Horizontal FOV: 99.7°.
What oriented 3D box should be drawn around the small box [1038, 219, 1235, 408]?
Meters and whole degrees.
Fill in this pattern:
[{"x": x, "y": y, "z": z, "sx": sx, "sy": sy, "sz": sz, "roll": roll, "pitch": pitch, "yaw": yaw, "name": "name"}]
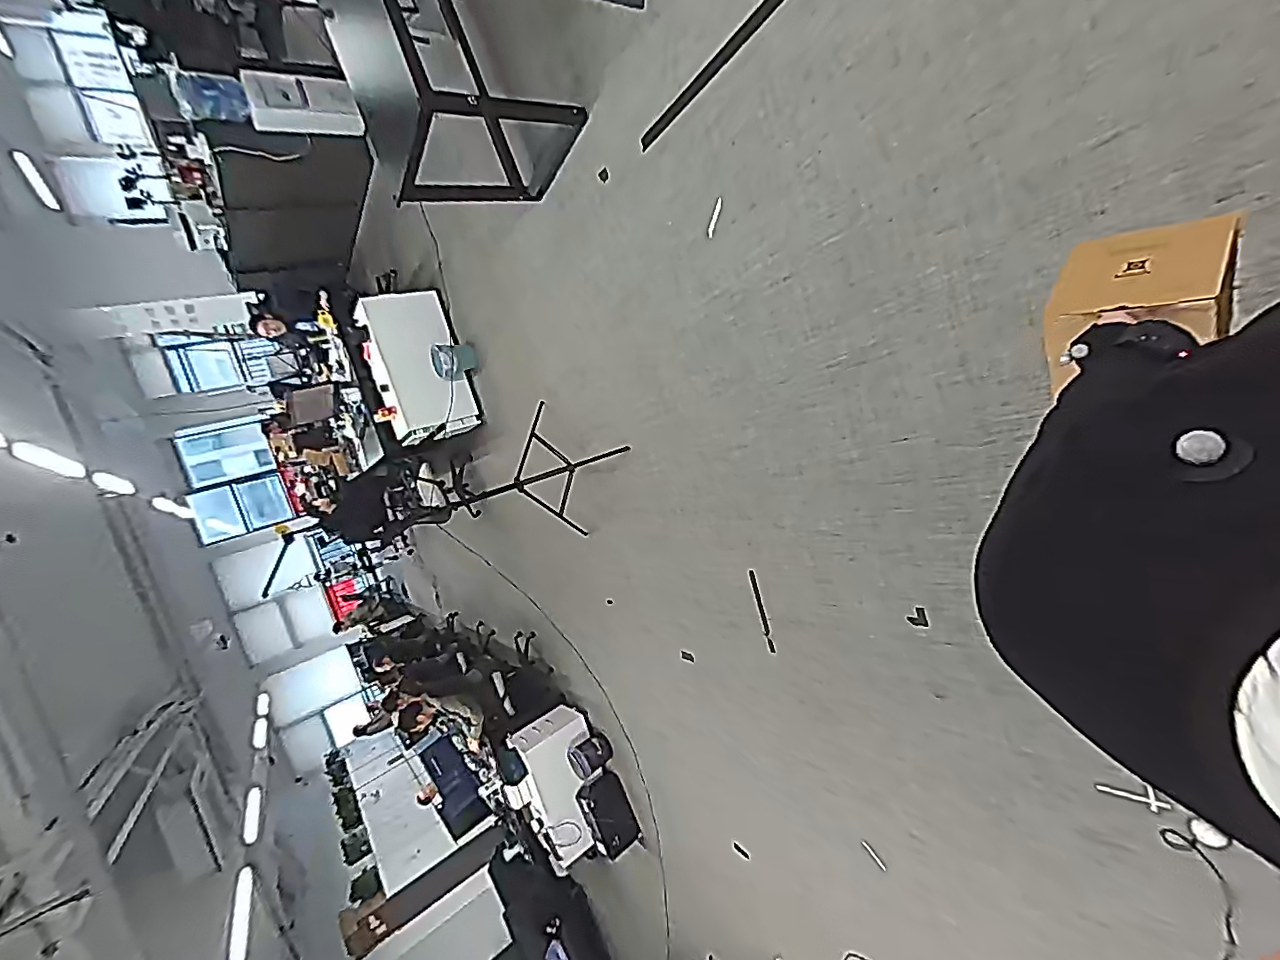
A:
[{"x": 0.677, "y": -0.214, "z": 0.739, "sx": 0.168, "sy": 0.179, "sz": 0.176, "roll": 10, "pitch": 145, "yaw": 49, "name": "small box"}]
